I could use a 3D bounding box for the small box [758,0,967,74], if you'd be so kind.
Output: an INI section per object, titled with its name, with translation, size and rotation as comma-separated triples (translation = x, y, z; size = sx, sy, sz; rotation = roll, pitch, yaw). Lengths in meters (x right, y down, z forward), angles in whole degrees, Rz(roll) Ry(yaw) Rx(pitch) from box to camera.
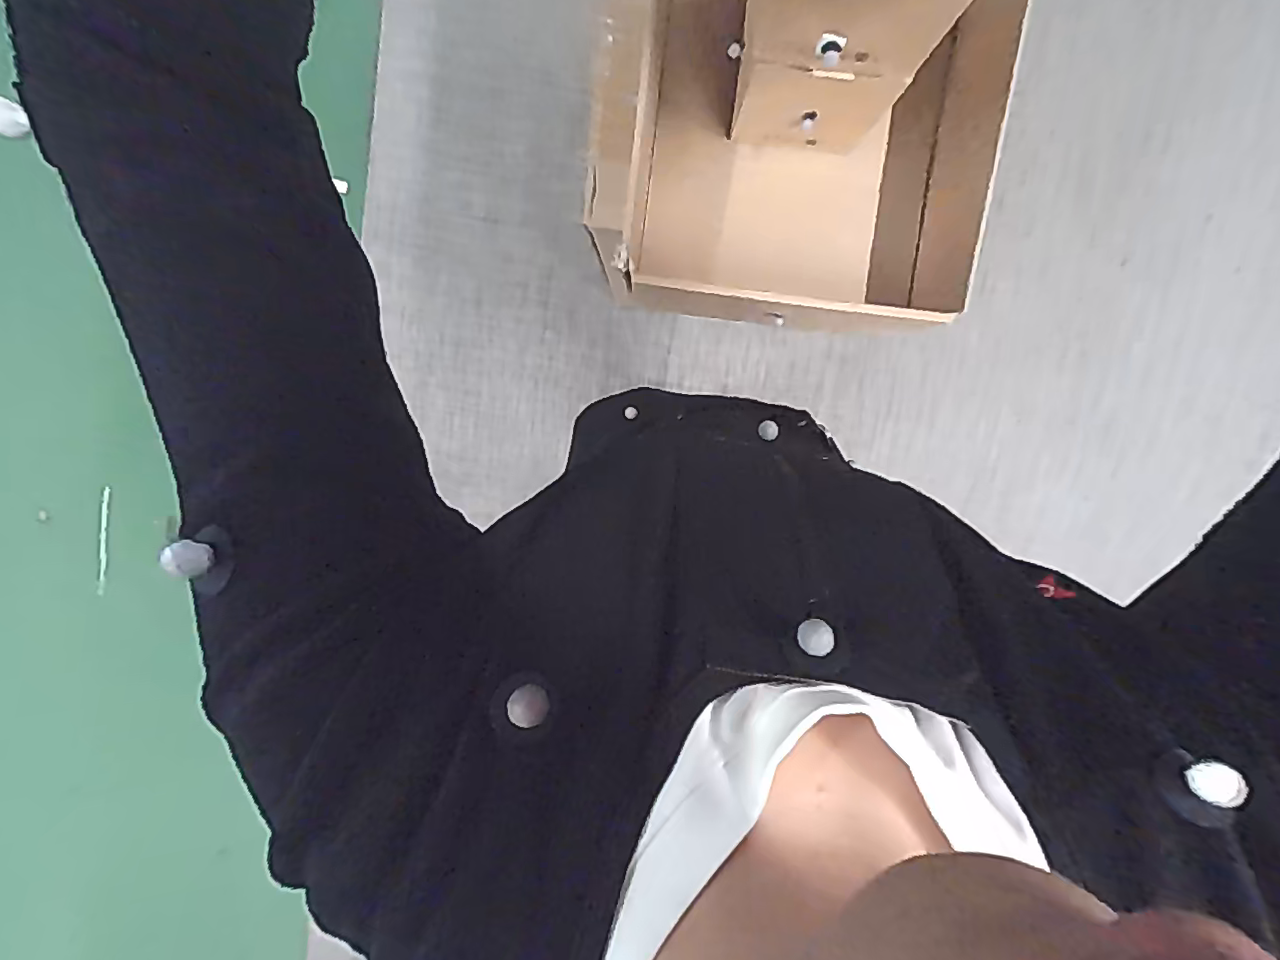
[small box]
translation = 0.203, -0.496, 0.460
size = 0.168, 0.176, 0.179
rotation = 5, 99, 1
